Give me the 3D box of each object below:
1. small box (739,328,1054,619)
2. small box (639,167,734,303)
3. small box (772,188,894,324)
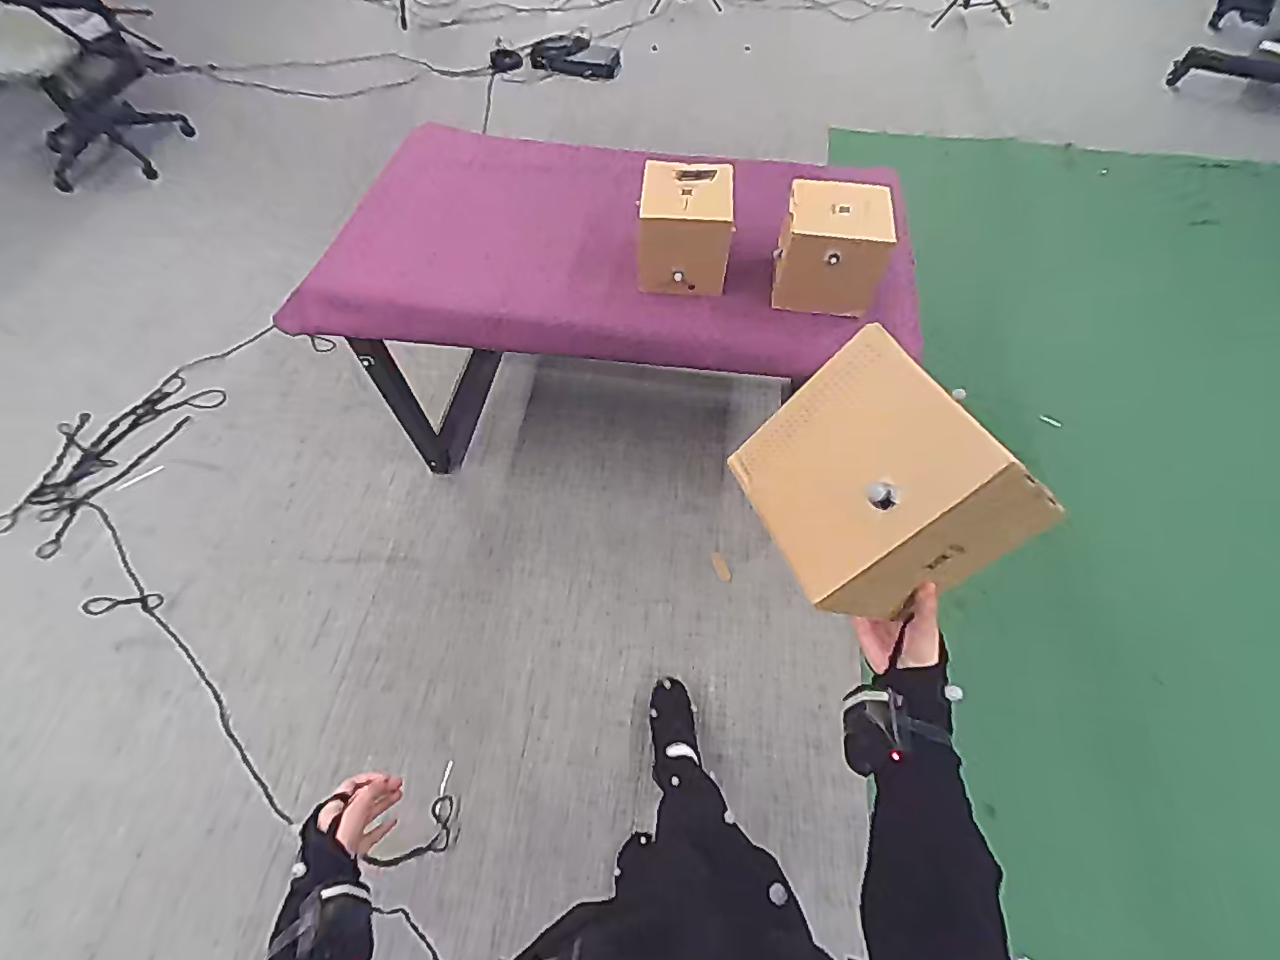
[{"bbox_3d":[0.212,0.001,0.490,0.168,0.179,0.176,20,34,-41],"label":"small box"},{"bbox_3d":[0.088,-0.472,1.048,0.168,0.176,0.179,4,59,3],"label":"small box"},{"bbox_3d":[0.352,-0.416,1.015,0.179,0.176,0.168,9,58,5],"label":"small box"}]
